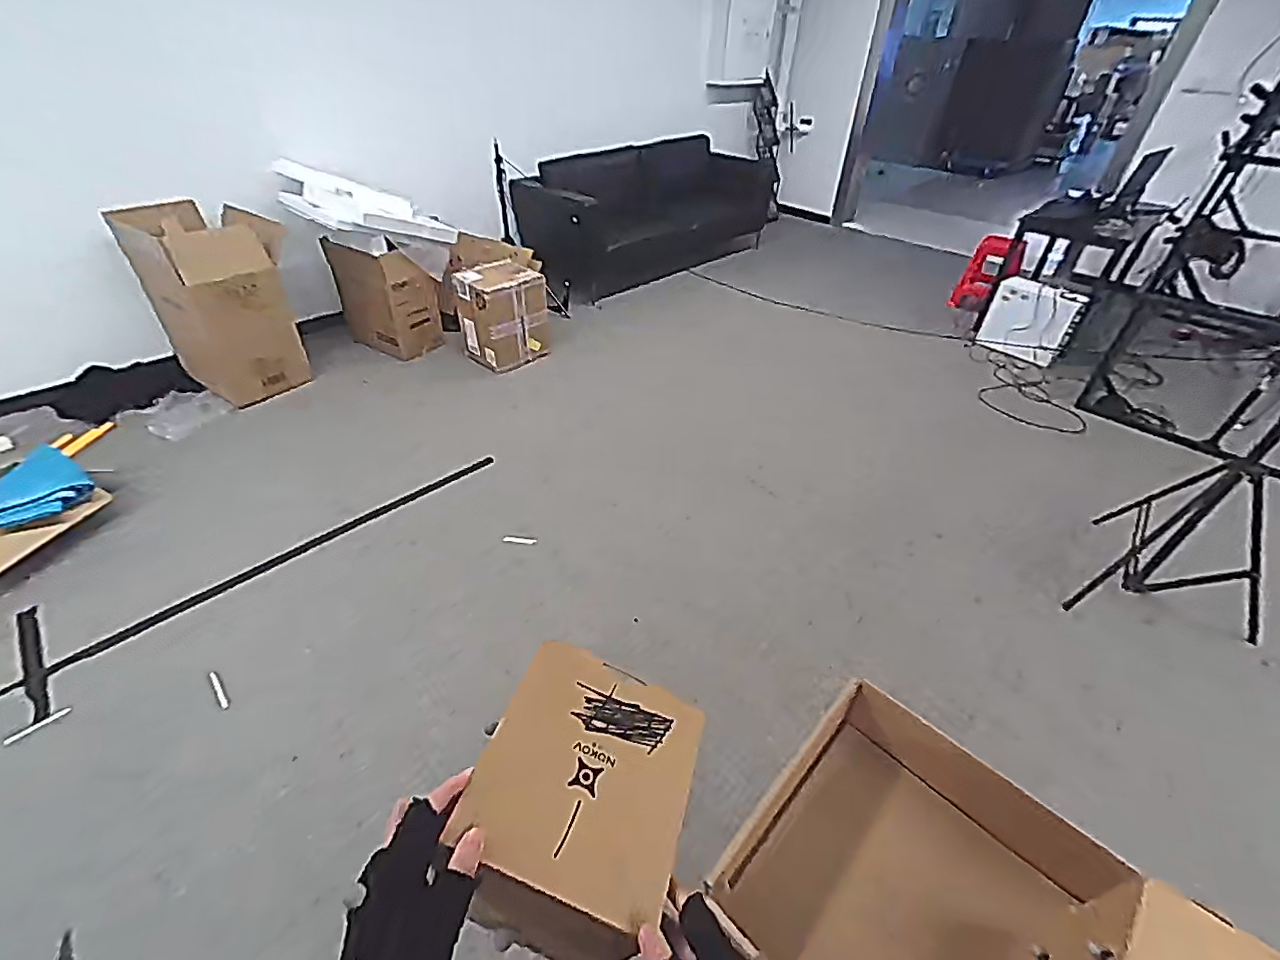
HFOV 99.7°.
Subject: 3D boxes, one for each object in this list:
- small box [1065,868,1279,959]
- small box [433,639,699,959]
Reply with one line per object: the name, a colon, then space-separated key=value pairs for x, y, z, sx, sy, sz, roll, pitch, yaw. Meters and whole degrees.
small box: x=0.494 y=0.504 z=0.478 sx=0.168 sy=0.176 sz=0.179 roll=29 pitch=53 yaw=35
small box: x=-0.066 y=0.285 z=0.482 sx=0.168 sy=0.176 sz=0.179 roll=24 pitch=38 yaw=1
